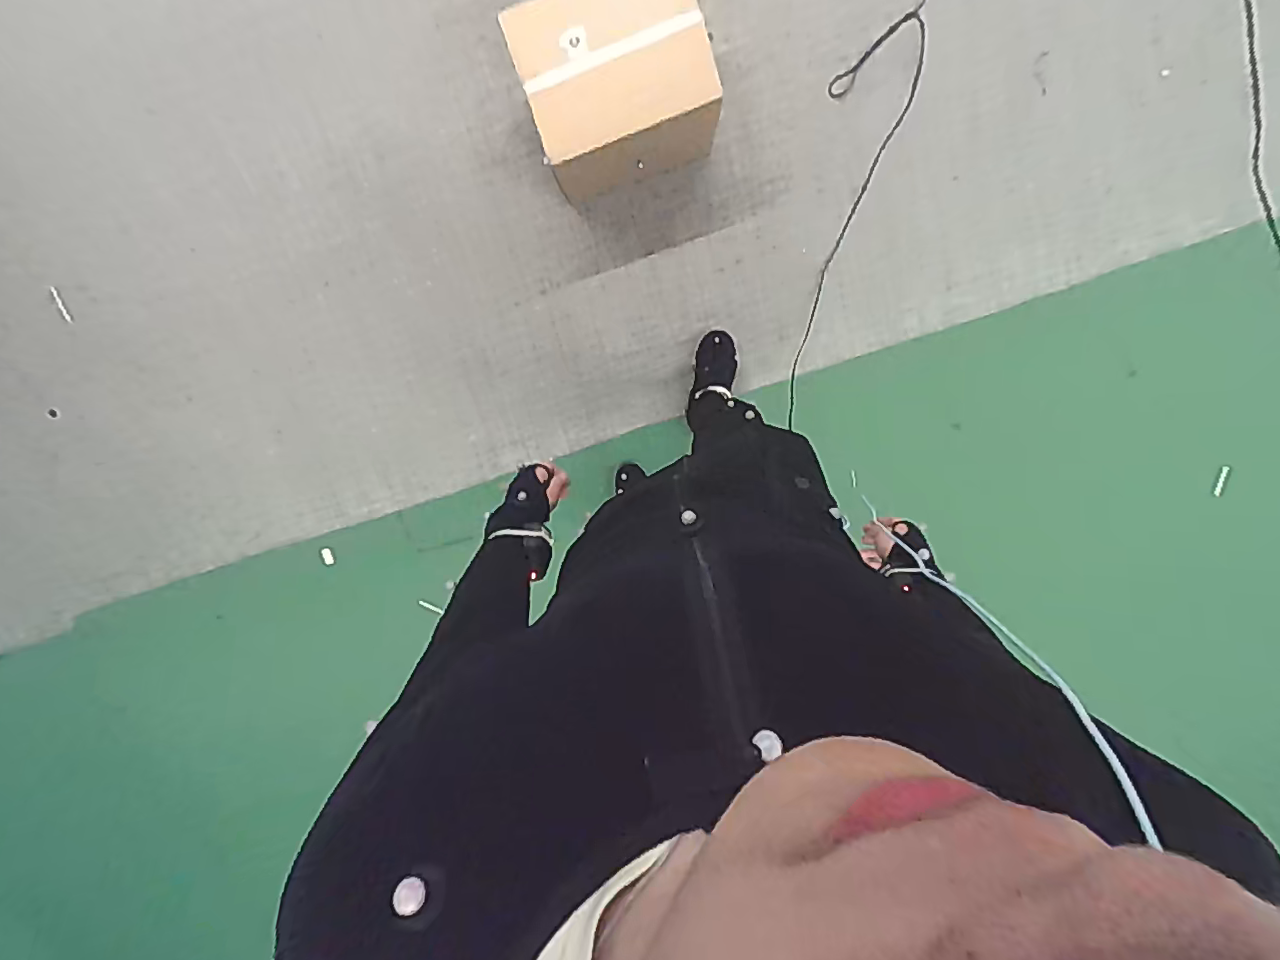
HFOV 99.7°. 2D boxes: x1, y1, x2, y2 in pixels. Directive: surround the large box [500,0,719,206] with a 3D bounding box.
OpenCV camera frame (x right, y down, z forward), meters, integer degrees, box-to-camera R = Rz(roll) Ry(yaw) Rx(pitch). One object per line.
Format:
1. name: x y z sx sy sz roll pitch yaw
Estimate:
1. large box: -0.058 -0.930 1.306 0.408 0.320 0.320 -20 99 7
